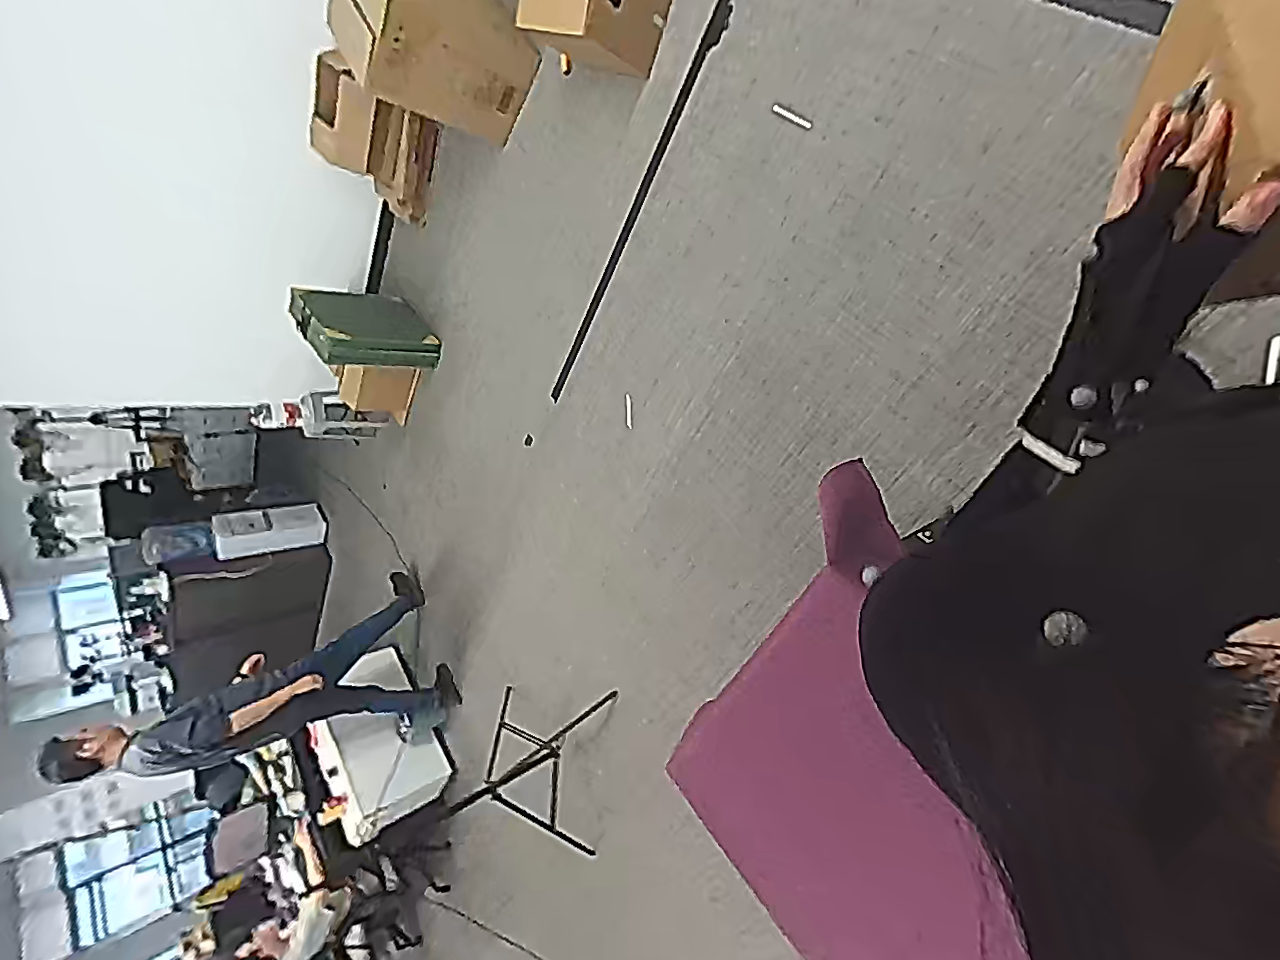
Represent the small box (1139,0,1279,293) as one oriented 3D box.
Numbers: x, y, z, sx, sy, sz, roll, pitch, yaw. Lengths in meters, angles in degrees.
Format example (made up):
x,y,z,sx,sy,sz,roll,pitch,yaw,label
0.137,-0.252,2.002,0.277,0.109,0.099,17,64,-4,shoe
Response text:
x,y,z,sx,sy,sz,roll,pitch,yaw,label
0.455,-0.250,0.339,0.168,0.176,0.179,-4,75,27,small box
